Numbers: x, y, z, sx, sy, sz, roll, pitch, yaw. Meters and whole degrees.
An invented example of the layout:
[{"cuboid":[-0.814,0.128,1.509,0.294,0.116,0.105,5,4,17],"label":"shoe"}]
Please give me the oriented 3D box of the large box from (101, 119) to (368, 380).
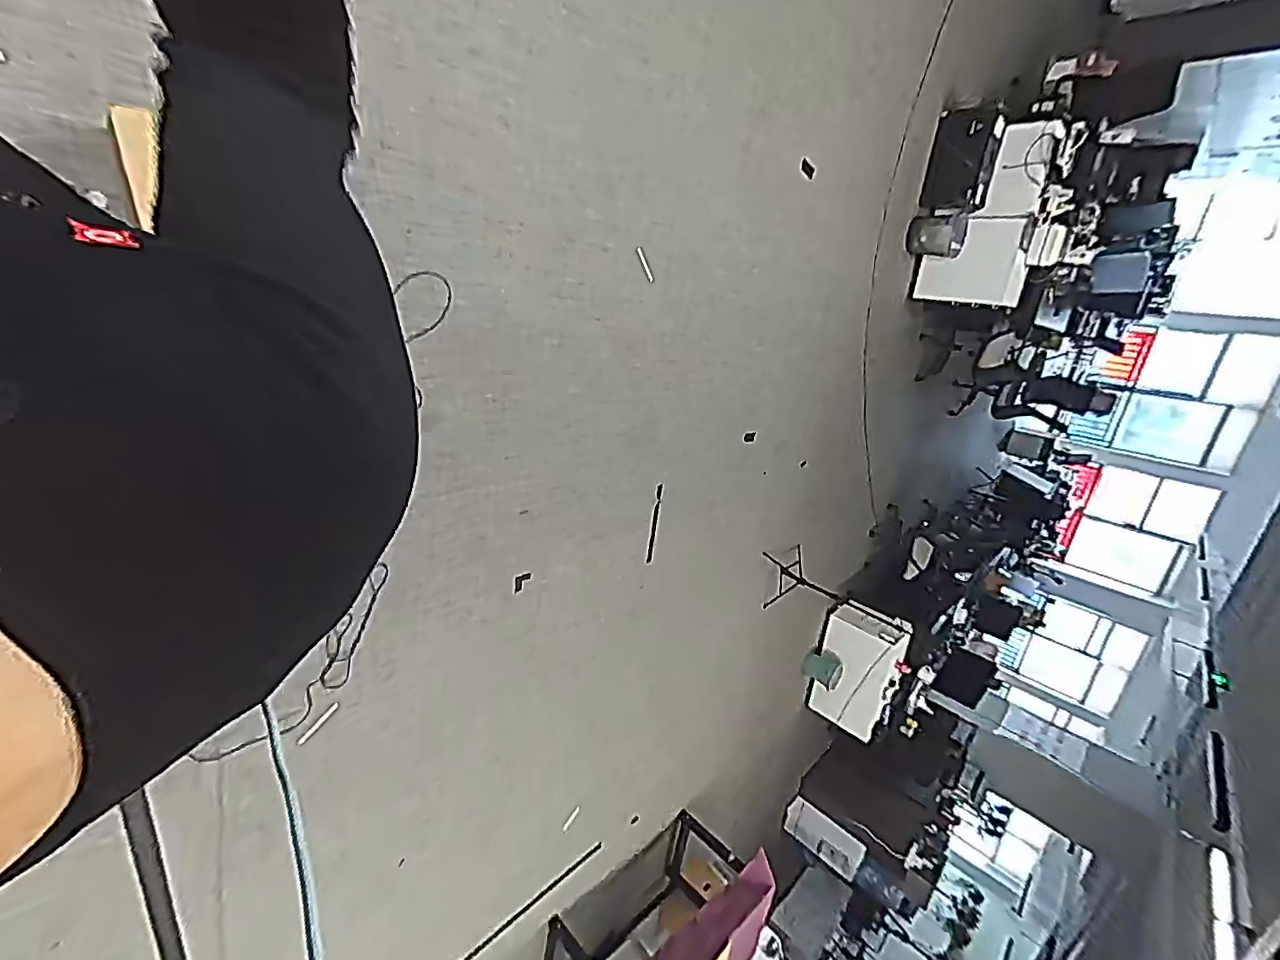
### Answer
[{"cuboid":[-0.785,-0.445,1.071,0.320,0.320,0.408,-18,122,-40],"label":"large box"}]
